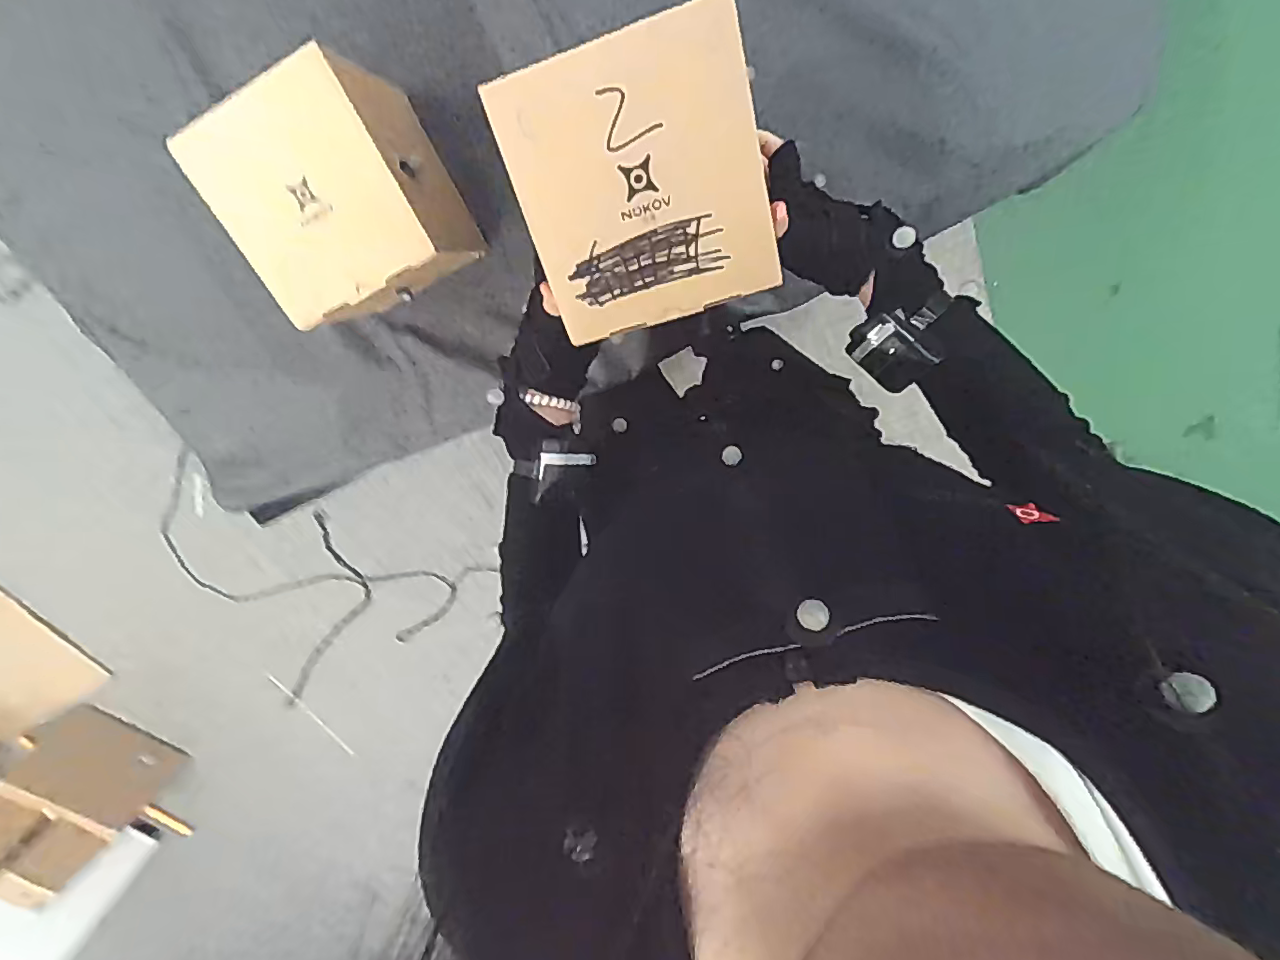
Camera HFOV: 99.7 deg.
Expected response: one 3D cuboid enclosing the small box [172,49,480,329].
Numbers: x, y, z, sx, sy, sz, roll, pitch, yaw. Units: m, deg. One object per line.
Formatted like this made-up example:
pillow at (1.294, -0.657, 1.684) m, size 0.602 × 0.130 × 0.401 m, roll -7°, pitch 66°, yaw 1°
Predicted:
small box at (-0.293, -0.279, 0.552) m, size 0.168 × 0.176 × 0.179 m, roll -24°, pitch 112°, yaw 11°
